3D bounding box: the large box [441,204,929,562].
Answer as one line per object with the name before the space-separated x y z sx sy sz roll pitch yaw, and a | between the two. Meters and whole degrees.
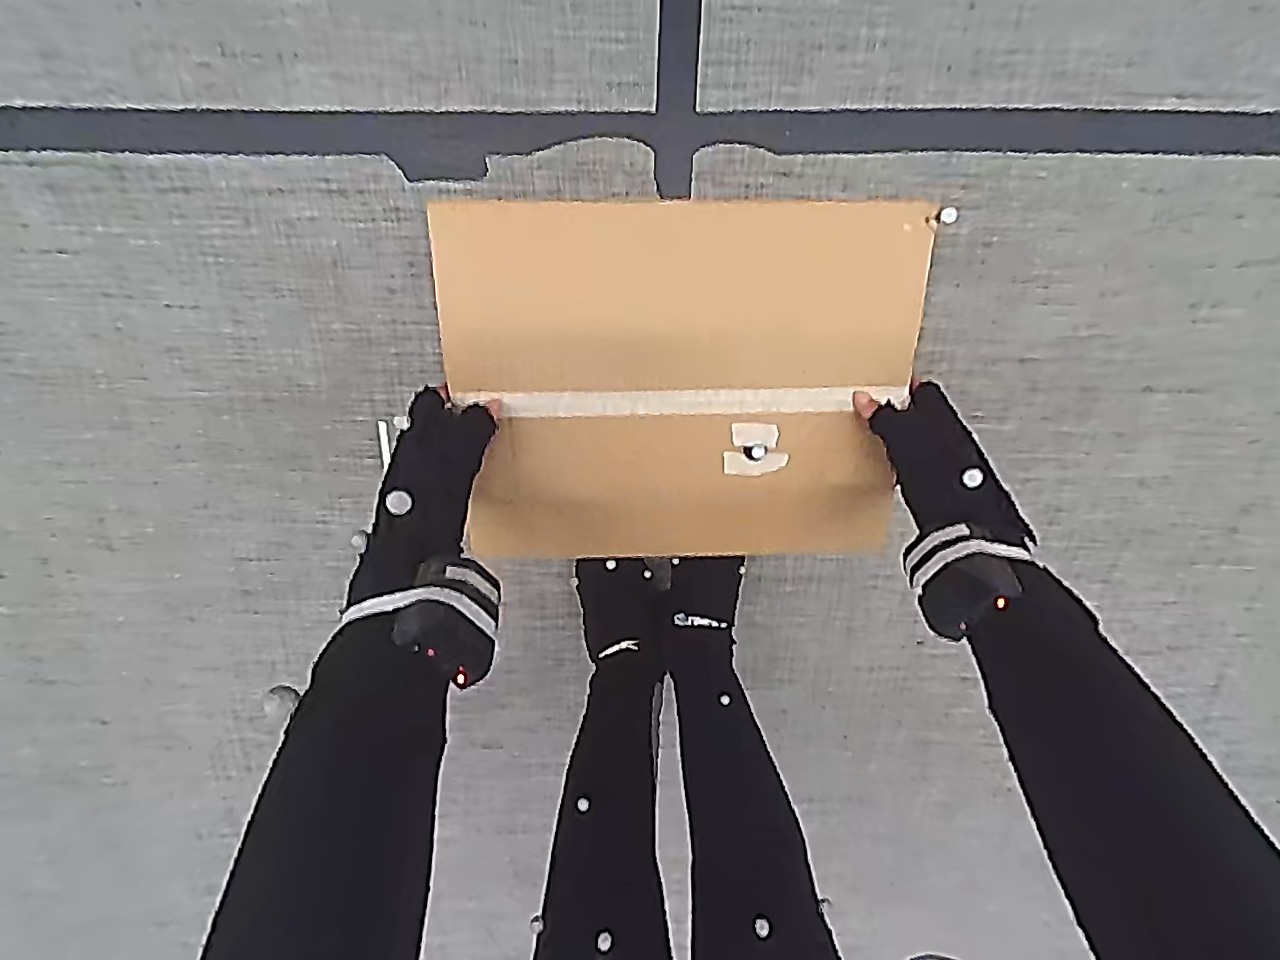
large box | 0.035 -0.120 0.622 0.408 0.320 0.320 -2 110 -2
